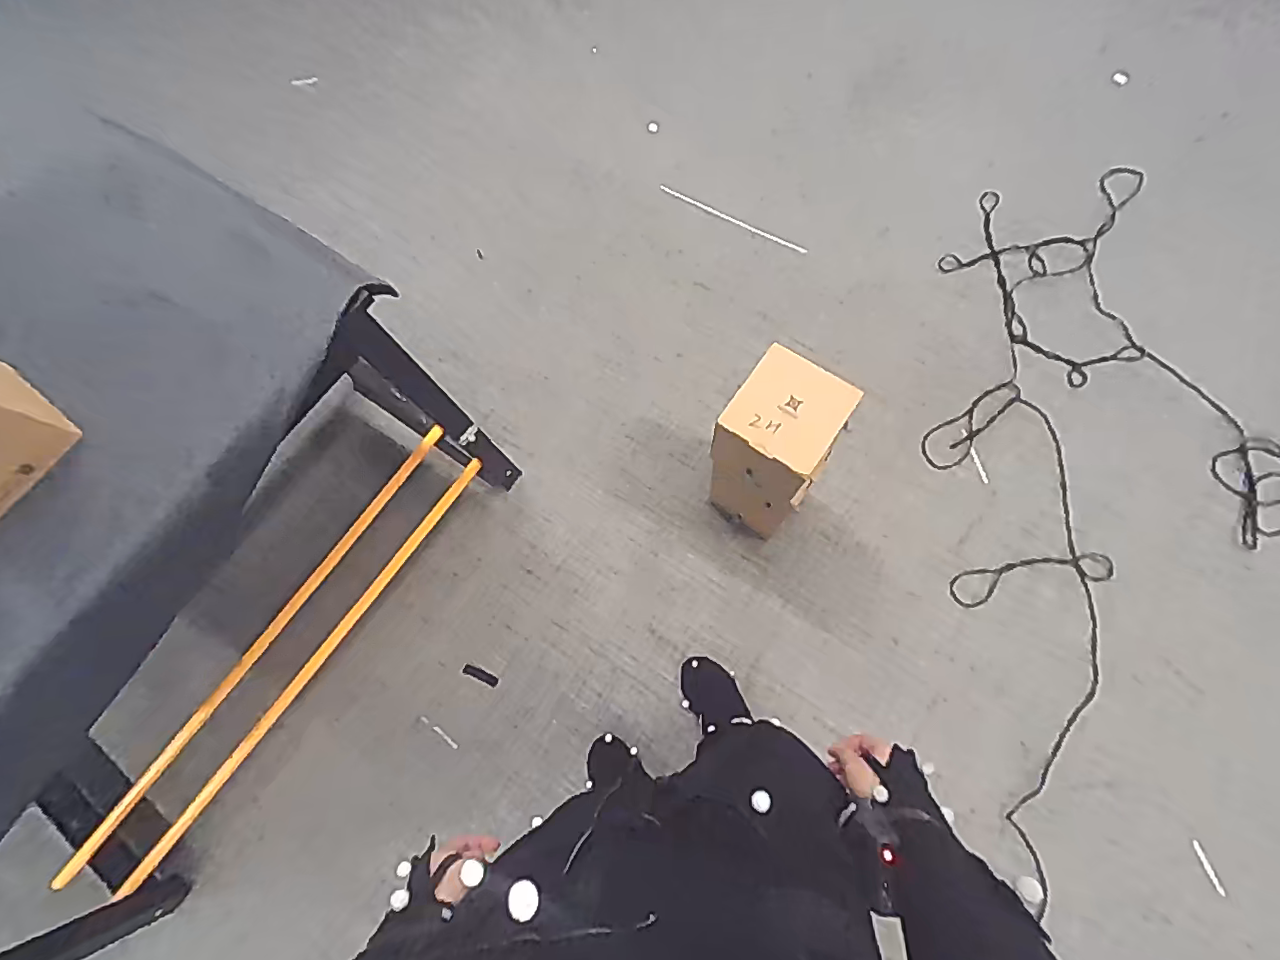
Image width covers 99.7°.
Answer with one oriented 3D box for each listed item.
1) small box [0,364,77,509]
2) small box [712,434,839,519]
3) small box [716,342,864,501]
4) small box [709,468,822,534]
[{"bbox_3d":[-0.785,-0.062,0.578,0.179,0.176,0.168,33,78,14],"label":"small box"},{"bbox_3d":[0.259,-0.039,1.073,0.179,0.176,0.168,32,77,14],"label":"small box"},{"bbox_3d":[0.240,-0.091,0.917,0.168,0.176,0.179,34,78,13],"label":"small box"},{"bbox_3d":[0.275,0.006,1.227,0.179,0.176,0.168,36,78,12],"label":"small box"}]
